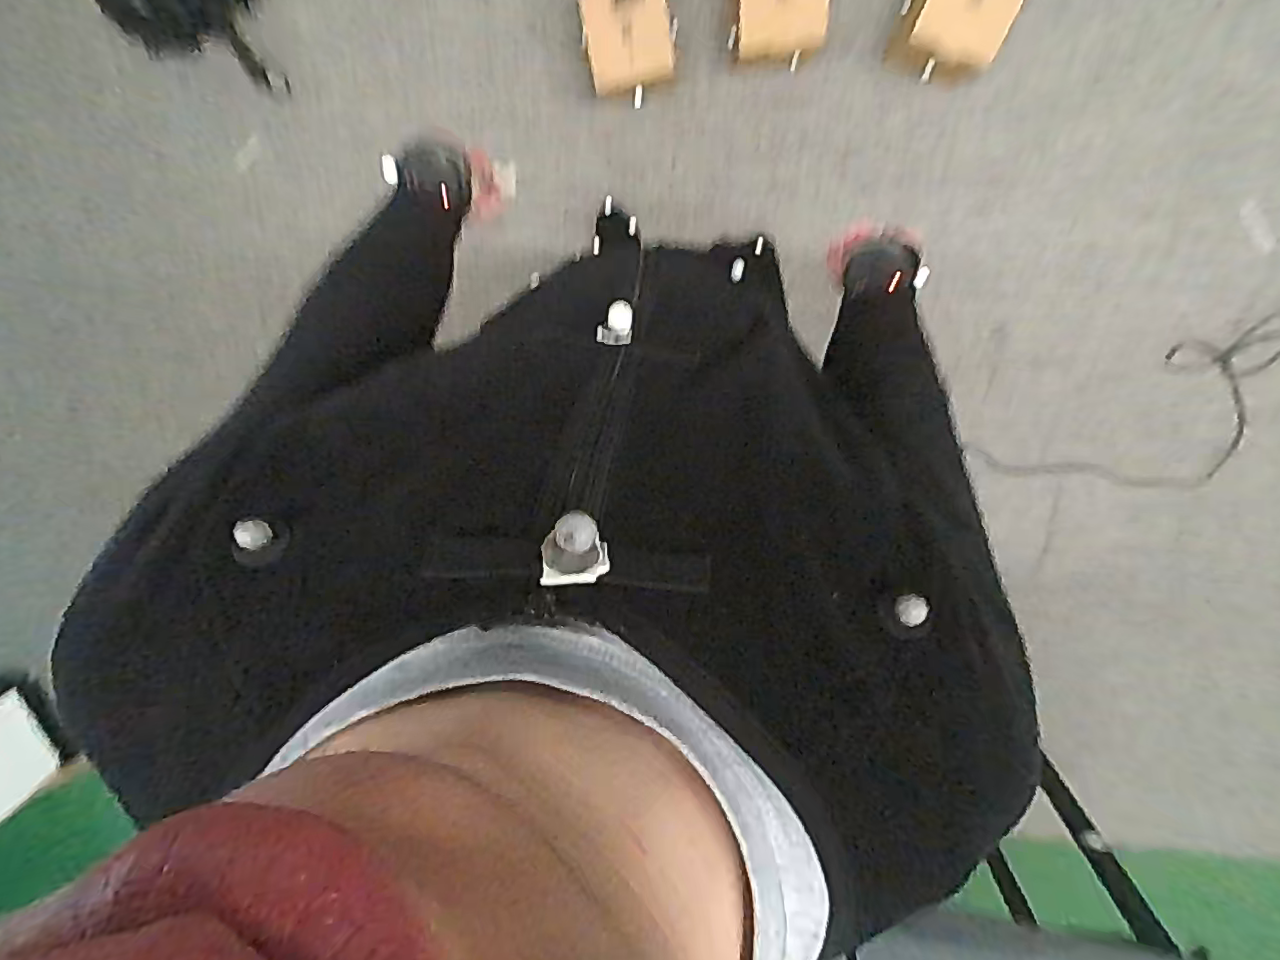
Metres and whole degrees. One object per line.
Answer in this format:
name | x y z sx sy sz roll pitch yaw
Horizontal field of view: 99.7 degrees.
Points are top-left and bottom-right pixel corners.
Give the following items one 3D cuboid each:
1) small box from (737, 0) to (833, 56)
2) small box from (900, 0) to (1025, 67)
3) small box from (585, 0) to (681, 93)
small box | 0.280 -0.962 1.061 0.168 0.176 0.179 -4 115 6
small box | 0.628 -0.933 1.036 0.168 0.176 0.179 20 117 -3
small box | -0.012 -0.928 1.105 0.168 0.176 0.179 -9 116 10
